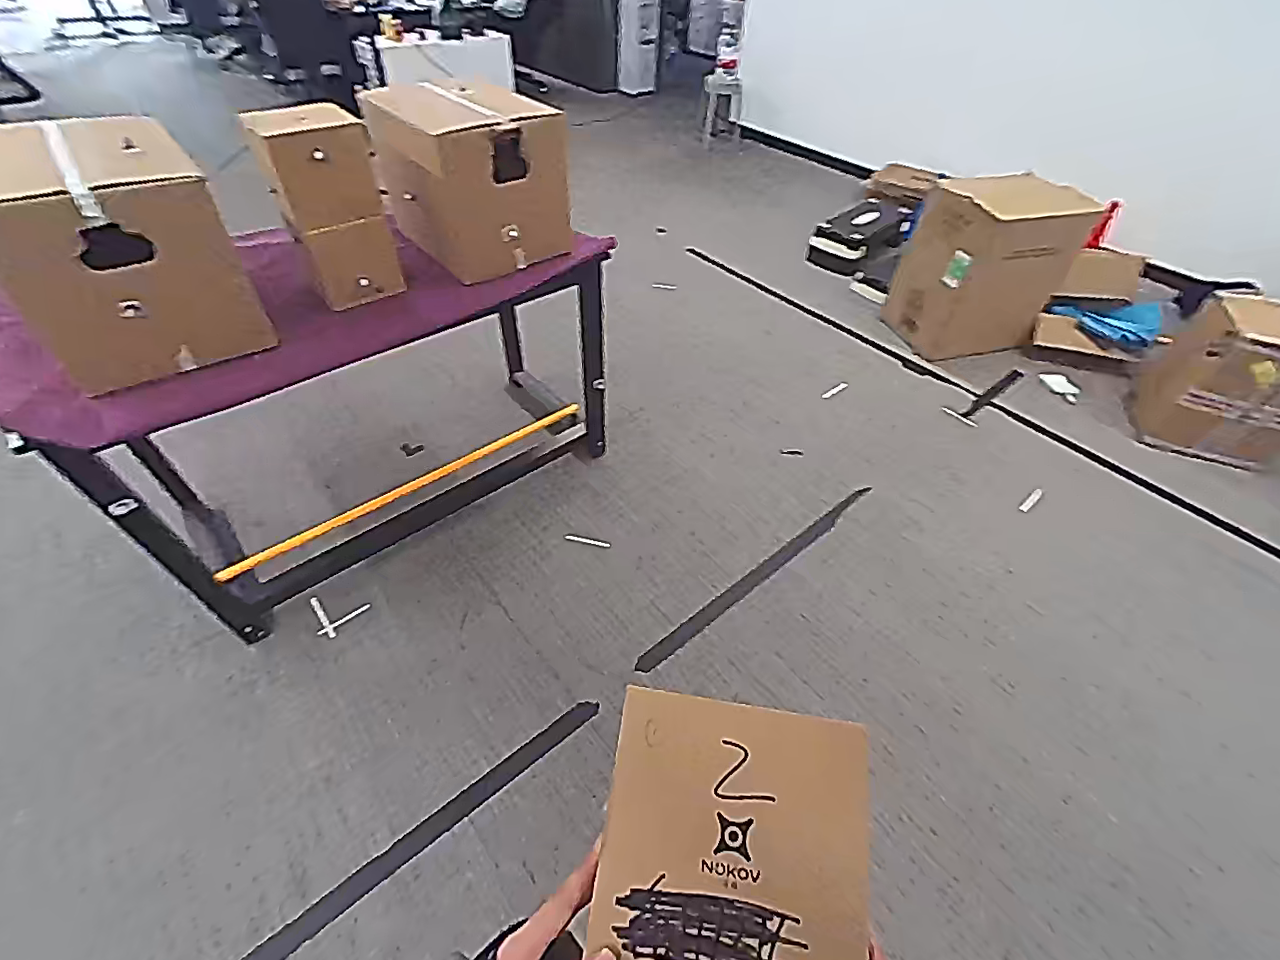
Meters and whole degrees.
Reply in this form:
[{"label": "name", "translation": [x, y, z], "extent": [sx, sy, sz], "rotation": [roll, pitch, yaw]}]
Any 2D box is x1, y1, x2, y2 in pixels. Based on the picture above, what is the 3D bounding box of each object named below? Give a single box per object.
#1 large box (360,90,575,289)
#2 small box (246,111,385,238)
[{"label": "large box", "translation": [-0.407, -0.721, 1.329], "extent": [0.320, 0.320, 0.408], "rotation": [-31, 54, -28]}, {"label": "small box", "translation": [-0.638, -0.613, 1.085], "extent": [0.179, 0.176, 0.168], "rotation": [-31, 55, -26]}]
